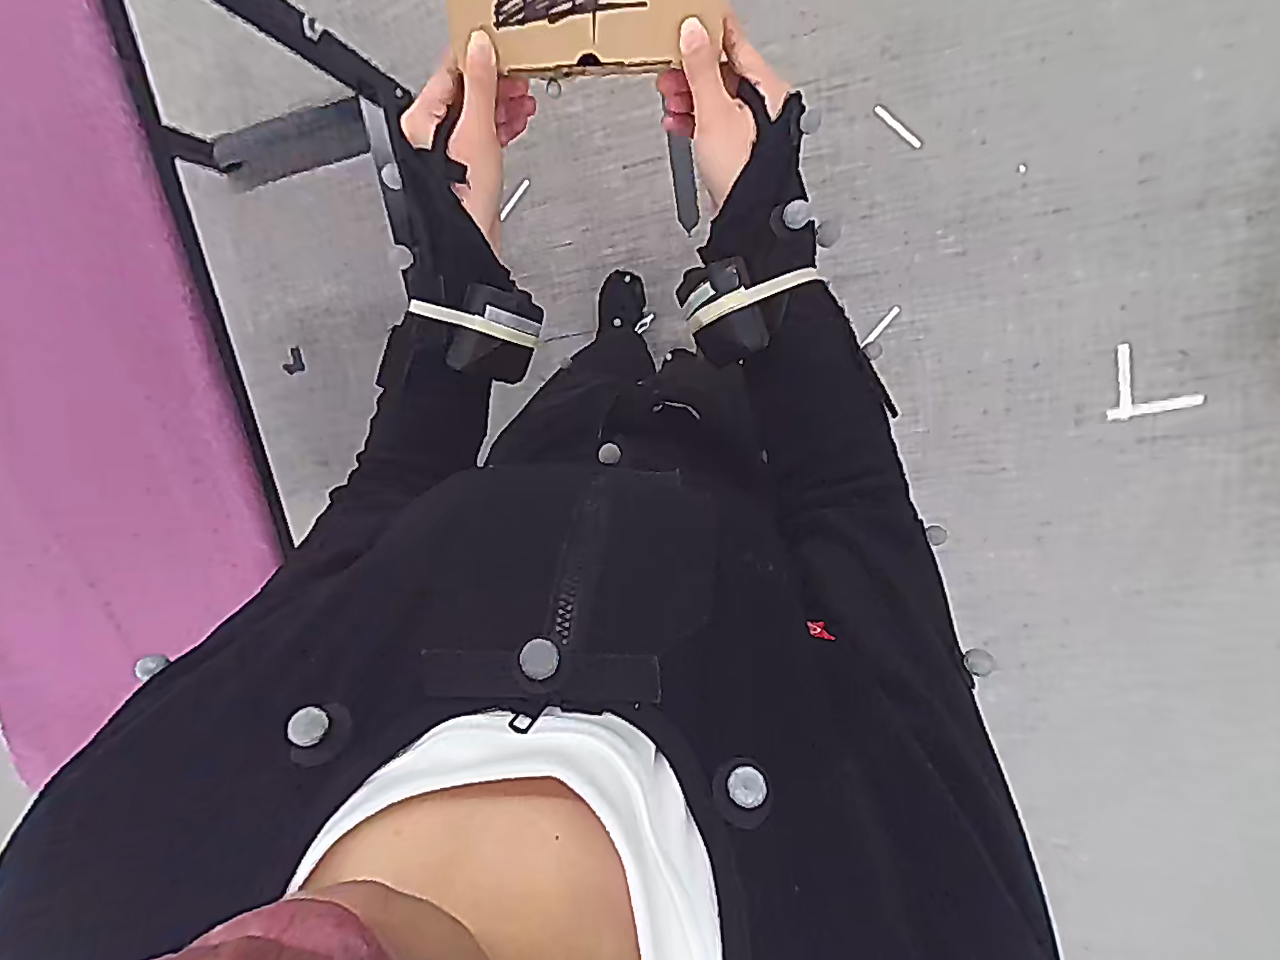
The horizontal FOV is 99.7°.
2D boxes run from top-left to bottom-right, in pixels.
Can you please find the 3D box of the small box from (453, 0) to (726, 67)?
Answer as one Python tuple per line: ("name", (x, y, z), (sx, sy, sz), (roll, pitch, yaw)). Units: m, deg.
("small box", (-0.024, -0.376, 0.345), (0.168, 0.176, 0.179), (1, 126, 4))
